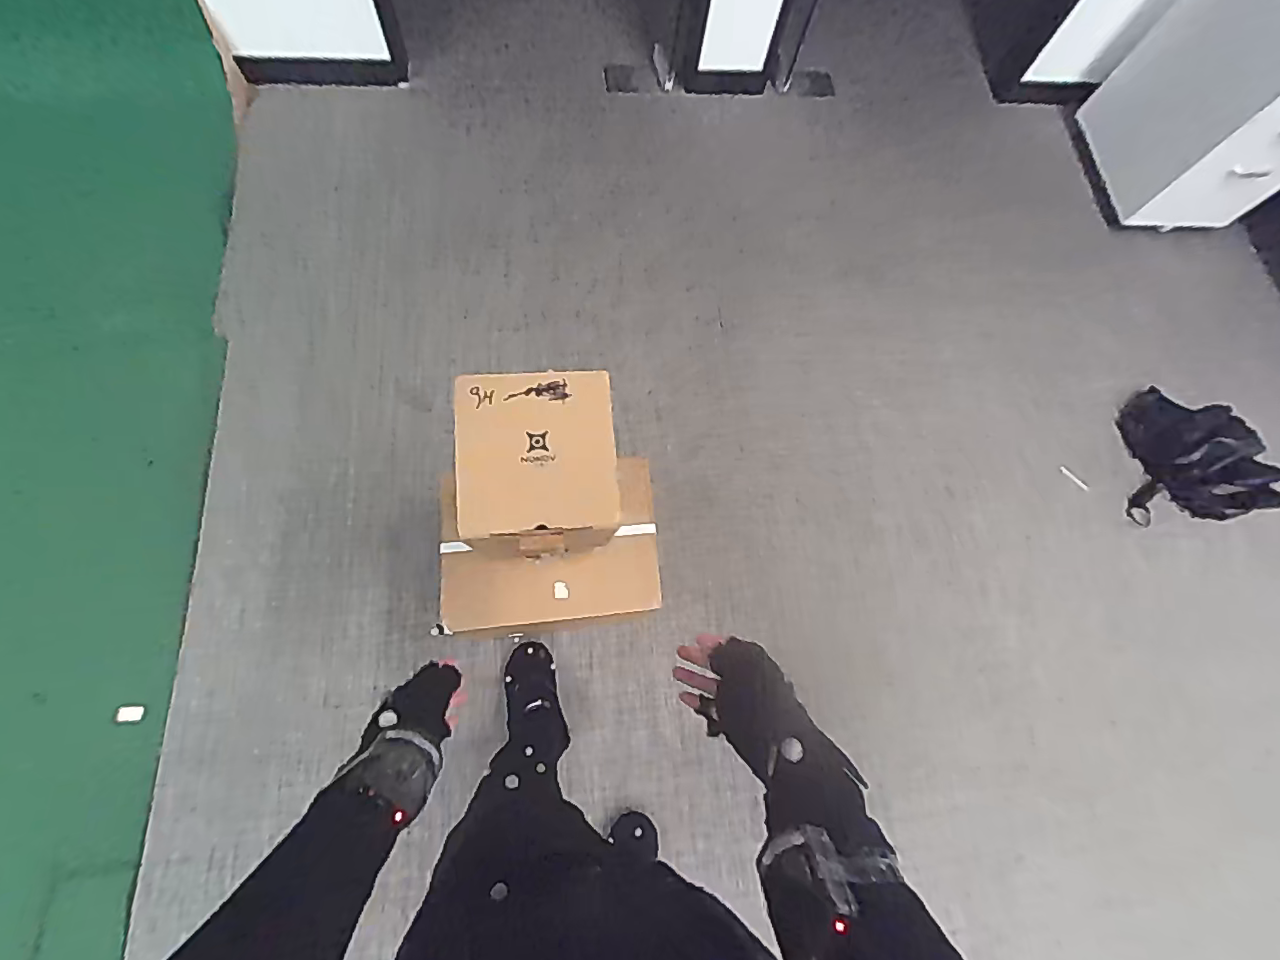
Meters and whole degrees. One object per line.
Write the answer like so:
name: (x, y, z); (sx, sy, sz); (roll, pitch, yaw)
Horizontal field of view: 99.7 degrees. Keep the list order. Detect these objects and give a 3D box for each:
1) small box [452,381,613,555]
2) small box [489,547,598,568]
small box: (-0.122, -0.004, 0.650); (0.168, 0.176, 0.179); (-4, 78, -8)
small box: (-0.174, 0.064, 0.964); (0.179, 0.176, 0.168); (-6, 78, -8)
